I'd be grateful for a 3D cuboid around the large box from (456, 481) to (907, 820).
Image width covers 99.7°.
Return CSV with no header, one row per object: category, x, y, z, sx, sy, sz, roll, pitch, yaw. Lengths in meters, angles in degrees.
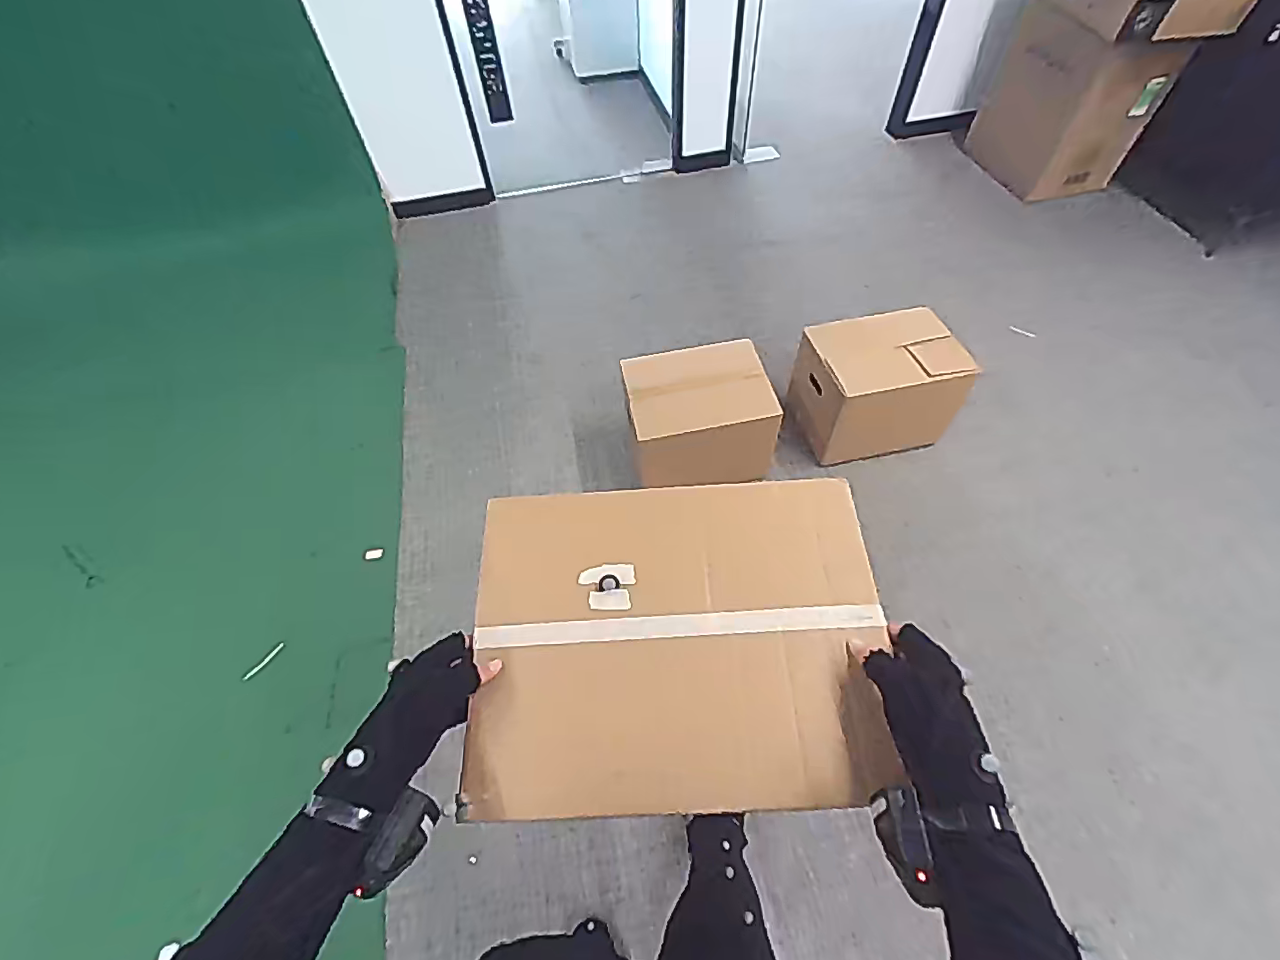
large box,0.039,0.218,0.670,0.408,0.320,0.320,-4,61,3
